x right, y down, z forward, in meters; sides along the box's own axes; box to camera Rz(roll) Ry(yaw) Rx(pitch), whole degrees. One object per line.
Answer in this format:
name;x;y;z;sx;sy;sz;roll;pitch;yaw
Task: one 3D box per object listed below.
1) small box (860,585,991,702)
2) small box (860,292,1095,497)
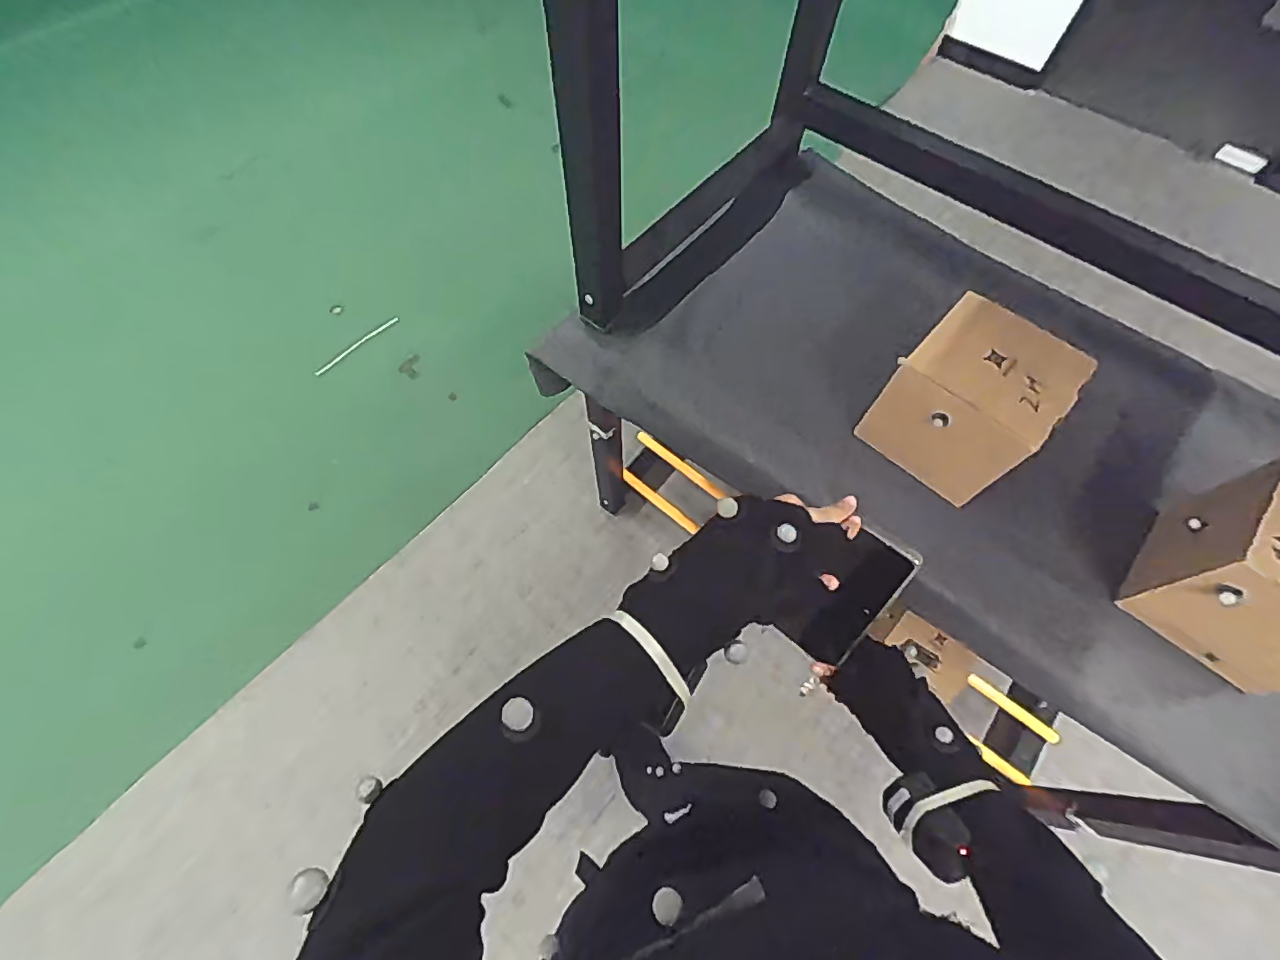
small box;0.612;0.365;1.188;0.168;0.176;0.179;41;70;17
small box;0.431;-0.106;0.722;0.179;0.176;0.168;40;70;17
